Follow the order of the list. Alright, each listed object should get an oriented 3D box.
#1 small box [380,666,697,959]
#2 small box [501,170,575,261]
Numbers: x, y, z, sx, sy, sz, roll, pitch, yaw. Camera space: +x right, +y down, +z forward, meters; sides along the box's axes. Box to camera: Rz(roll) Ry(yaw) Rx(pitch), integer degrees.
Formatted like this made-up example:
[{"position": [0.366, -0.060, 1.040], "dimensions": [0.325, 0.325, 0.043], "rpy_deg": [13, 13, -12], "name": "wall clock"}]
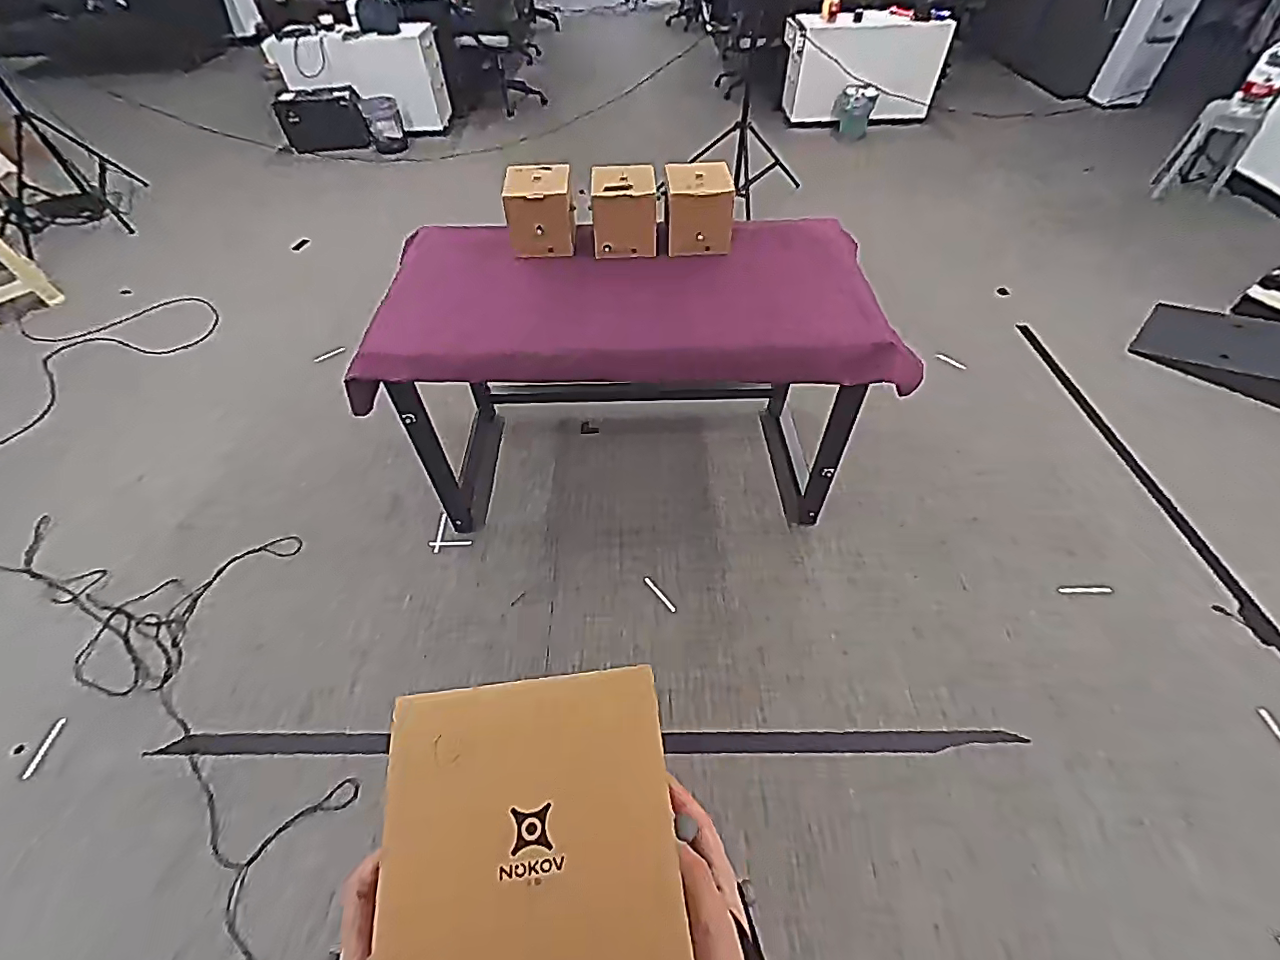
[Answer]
[{"position": [-0.064, 0.246, 0.378], "dimensions": [0.168, 0.176, 0.179], "rpy_deg": [-5, 59, -7], "name": "small box"}, {"position": [-0.269, -0.711, 1.465], "dimensions": [0.168, 0.176, 0.179], "rpy_deg": [-3, 53, -1], "name": "small box"}]
